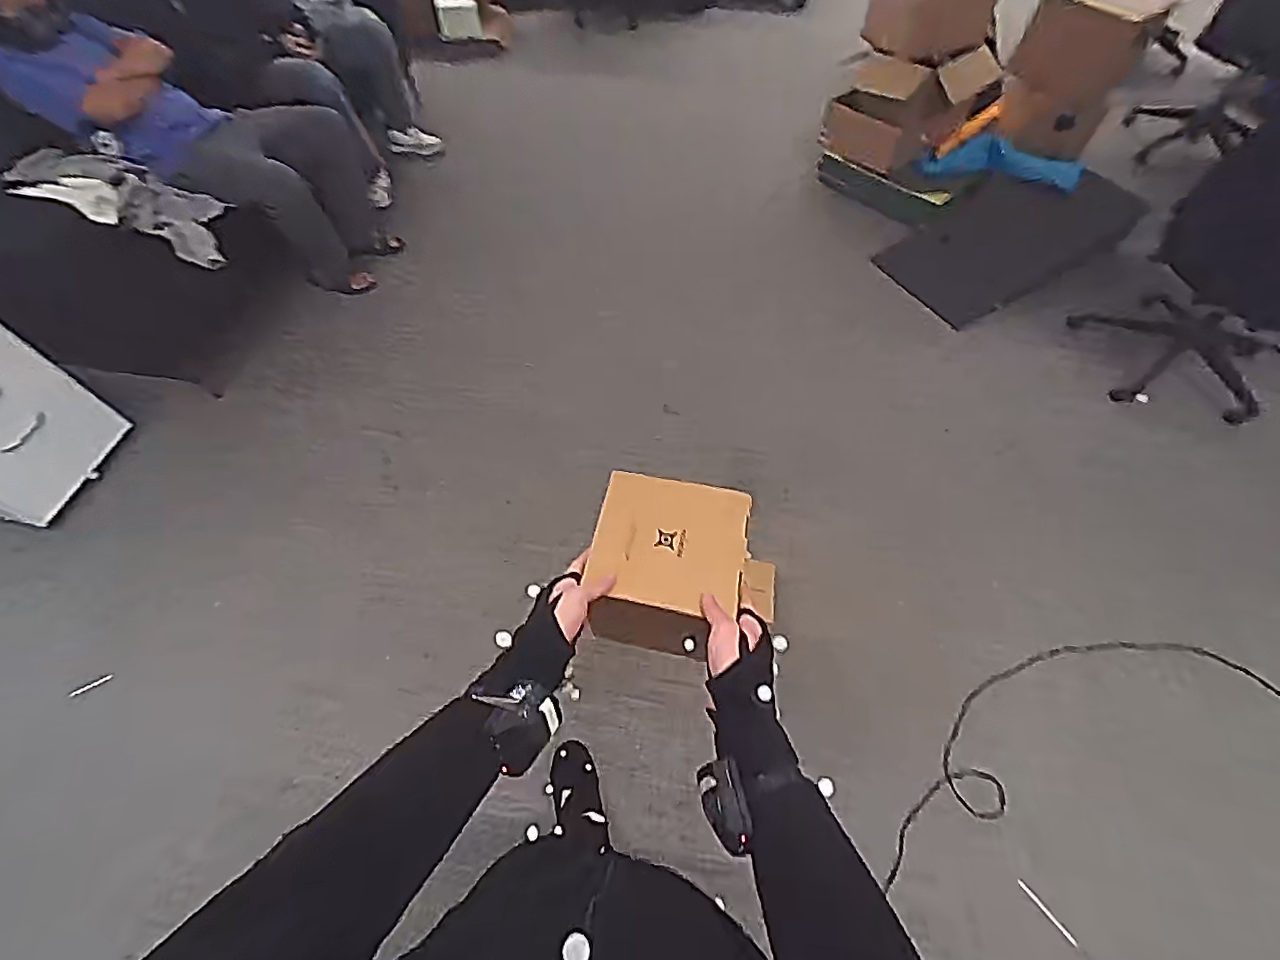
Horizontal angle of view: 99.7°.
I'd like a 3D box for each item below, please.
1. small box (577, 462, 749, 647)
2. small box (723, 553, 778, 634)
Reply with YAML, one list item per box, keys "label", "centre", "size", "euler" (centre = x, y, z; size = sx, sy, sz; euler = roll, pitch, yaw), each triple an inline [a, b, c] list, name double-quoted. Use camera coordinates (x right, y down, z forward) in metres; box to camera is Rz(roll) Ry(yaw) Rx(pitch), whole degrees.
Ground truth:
- label: "small box"
  centre: [0.034, 0.103, 0.700]
  size: [0.179, 0.176, 0.168]
  euler: [10, 57, 10]
- label: "small box"
  centre: [0.269, 0.310, 1.484]
  size: [0.179, 0.176, 0.168]
  euler: [11, 62, 8]
